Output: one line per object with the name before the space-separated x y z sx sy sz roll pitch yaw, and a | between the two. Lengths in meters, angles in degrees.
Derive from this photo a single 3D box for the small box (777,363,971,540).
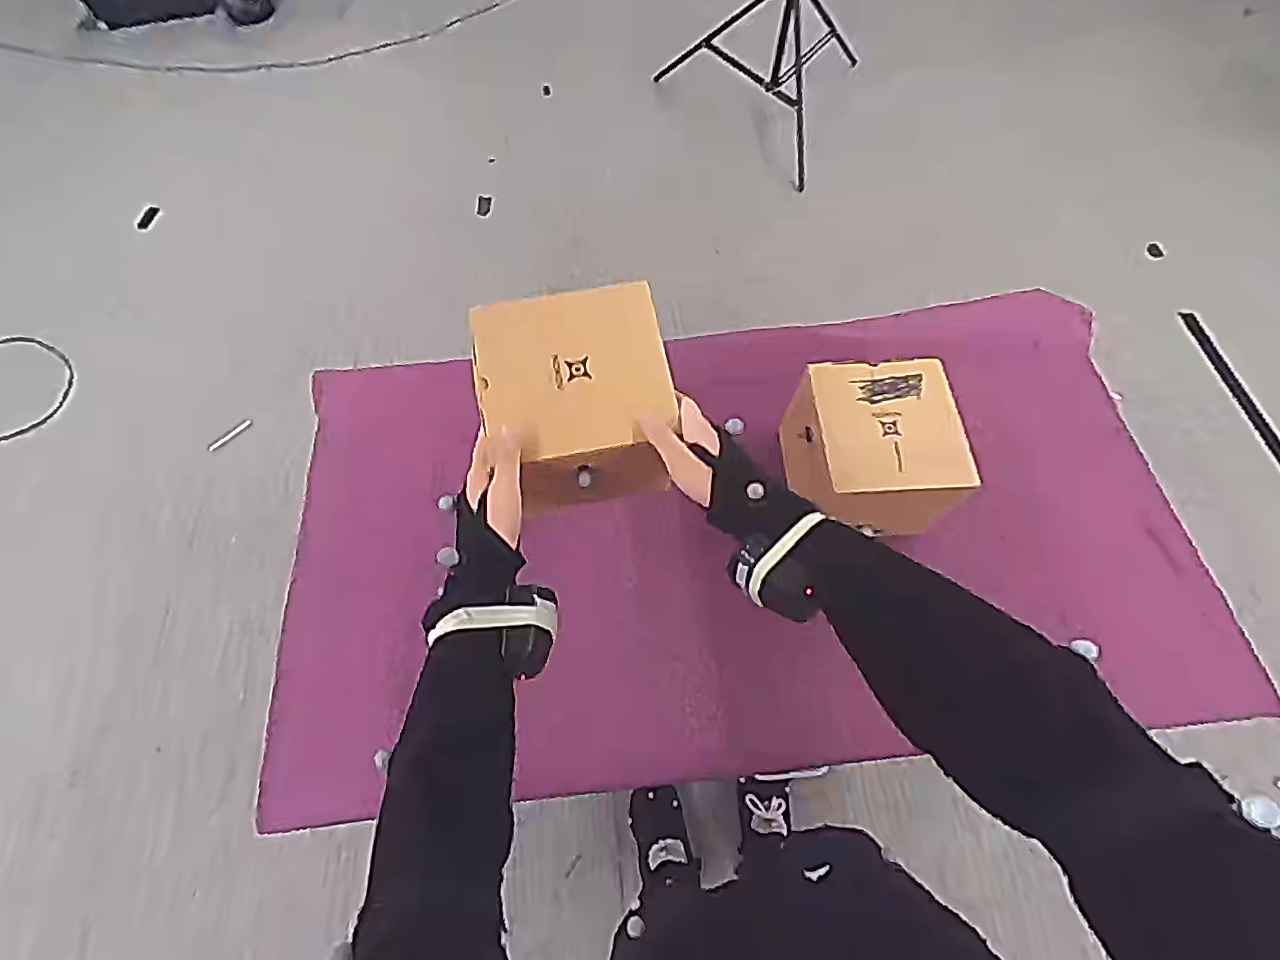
small box | 0.286 -0.032 0.709 0.168 0.176 0.179 -3 66 0

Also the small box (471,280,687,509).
small box | -0.061 -0.078 0.565 0.179 0.176 0.168 -11 74 -5
